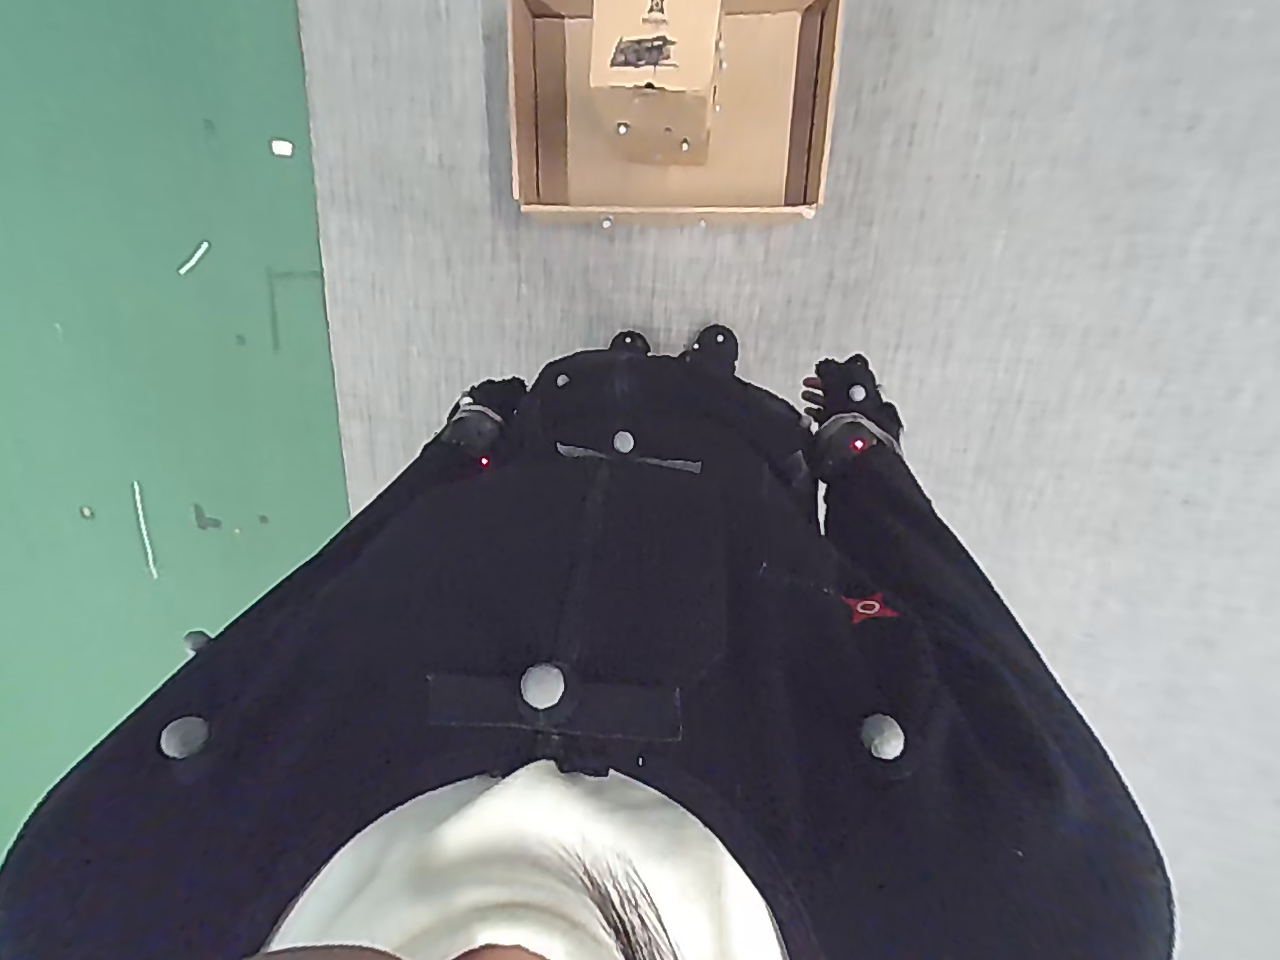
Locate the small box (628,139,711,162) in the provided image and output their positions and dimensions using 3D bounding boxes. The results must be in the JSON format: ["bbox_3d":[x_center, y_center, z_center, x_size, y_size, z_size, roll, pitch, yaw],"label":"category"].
[{"bbox_3d":[0.057,-0.753,1.086,0.179,0.176,0.168,2,106,4],"label":"small box"}]

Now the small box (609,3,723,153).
[{"bbox_3d":[0.043,-0.674,0.922,0.179,0.176,0.168,2,107,4],"label":"small box"}]

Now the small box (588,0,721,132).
[{"bbox_3d":[0.026,-0.630,0.781,0.168,0.176,0.179,7,106,3],"label":"small box"}]
